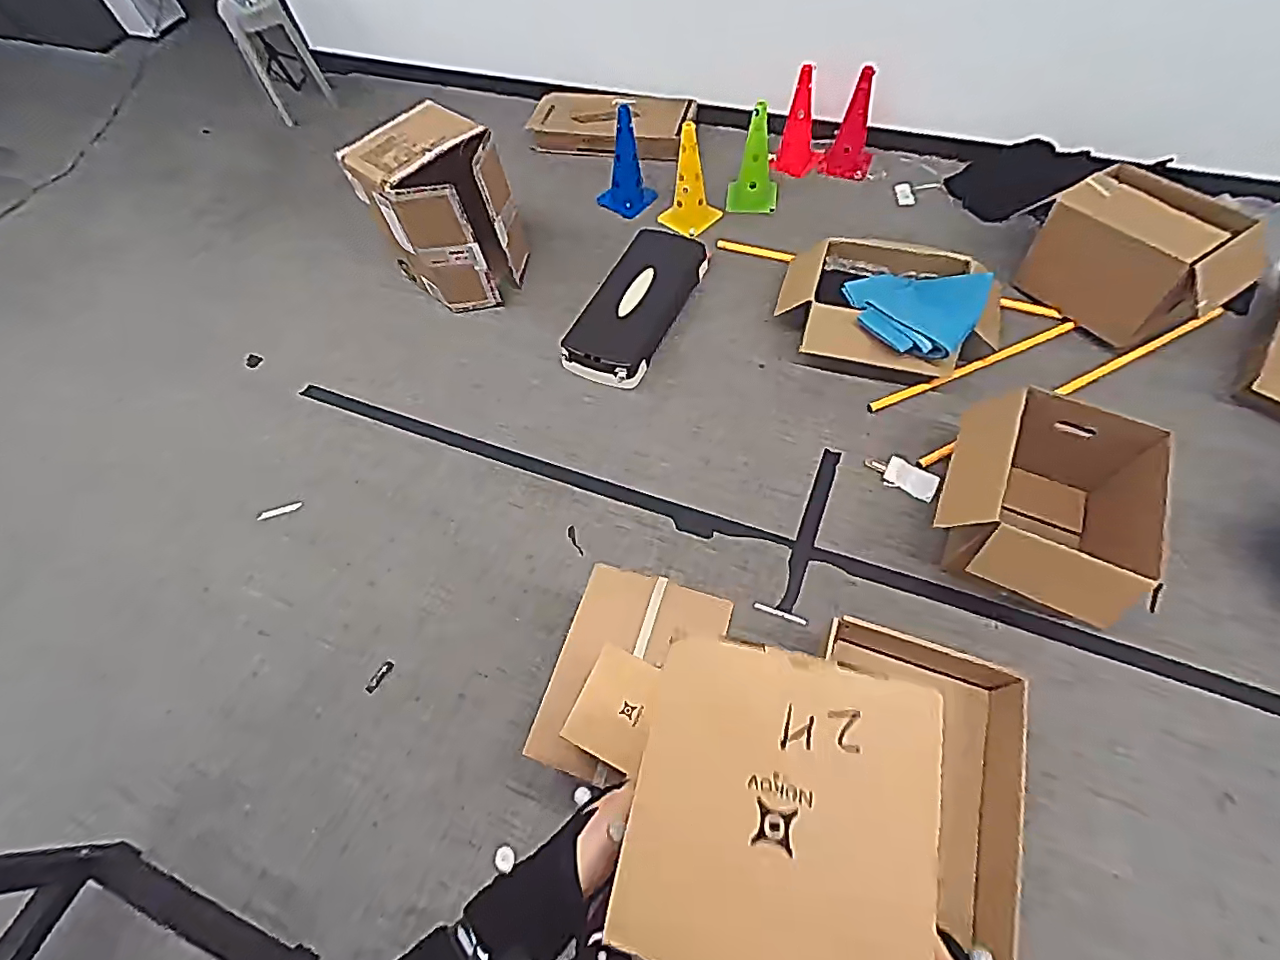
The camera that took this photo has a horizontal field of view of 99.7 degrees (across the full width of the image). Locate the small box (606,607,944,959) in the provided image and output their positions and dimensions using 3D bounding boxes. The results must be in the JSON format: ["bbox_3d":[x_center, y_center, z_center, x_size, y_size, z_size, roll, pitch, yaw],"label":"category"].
[{"bbox_3d":[0.092,0.208,0.375,0.168,0.176,0.179,10,65,15],"label":"small box"}]

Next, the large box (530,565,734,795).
[{"bbox_3d":[0.004,0.454,1.197,0.320,0.320,0.408,14,64,13],"label":"large box"}]
